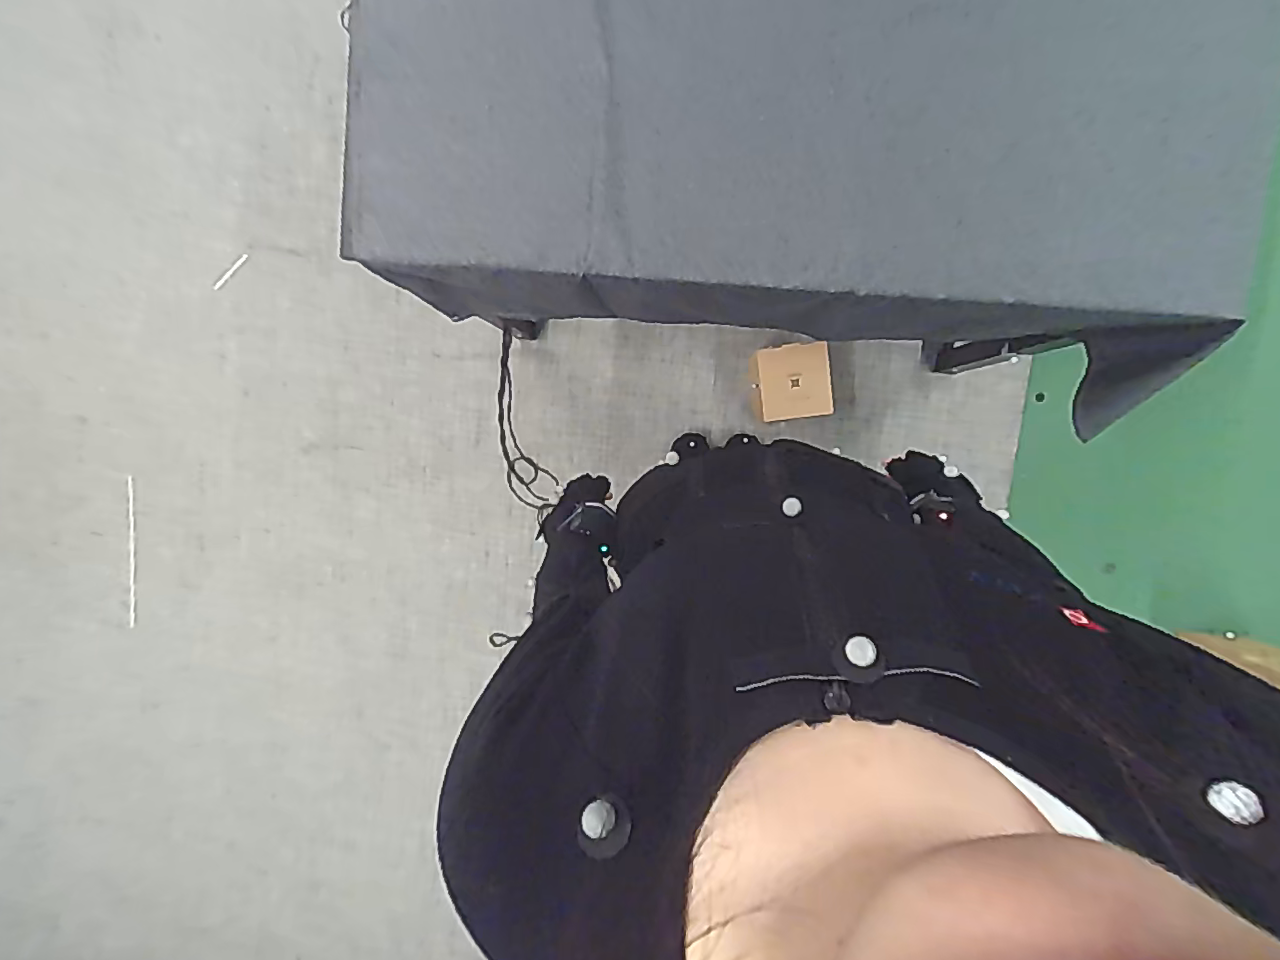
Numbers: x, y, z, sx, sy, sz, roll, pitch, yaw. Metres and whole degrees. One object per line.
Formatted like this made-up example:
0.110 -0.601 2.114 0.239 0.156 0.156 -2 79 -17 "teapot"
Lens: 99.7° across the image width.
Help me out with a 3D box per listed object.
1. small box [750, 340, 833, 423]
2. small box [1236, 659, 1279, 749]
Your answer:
0.375 -0.241 1.359 0.168 0.176 0.179 -6 93 6 "small box"
1.453 0.501 1.160 0.168 0.176 0.179 3 95 5 "small box"
